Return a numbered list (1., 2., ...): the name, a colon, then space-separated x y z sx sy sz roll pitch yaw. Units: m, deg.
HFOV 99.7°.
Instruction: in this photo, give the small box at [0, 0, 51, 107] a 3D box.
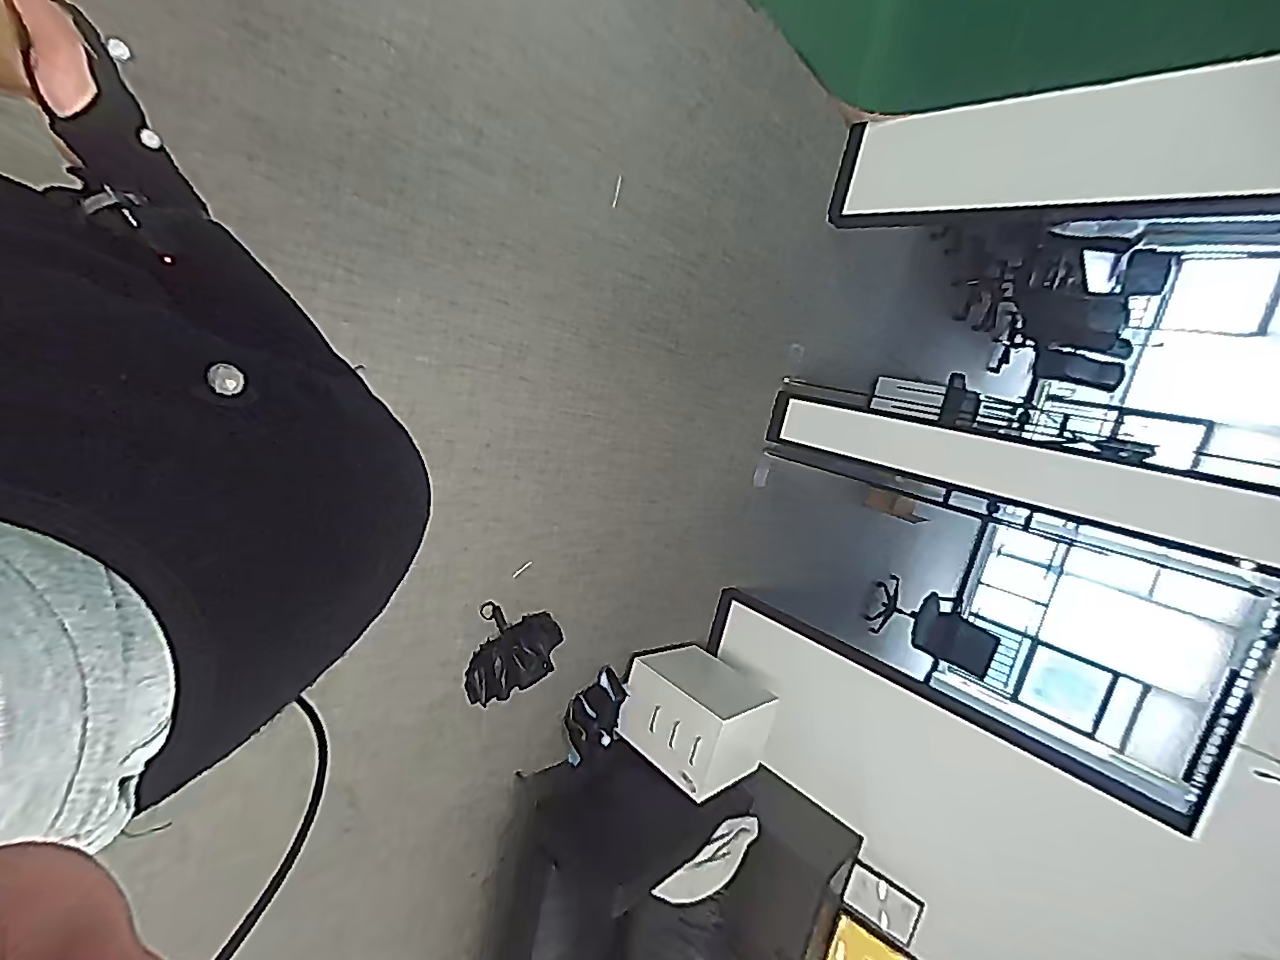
1. small box: -0.460 -0.320 0.275 0.179 0.176 0.168 -13 112 -37
